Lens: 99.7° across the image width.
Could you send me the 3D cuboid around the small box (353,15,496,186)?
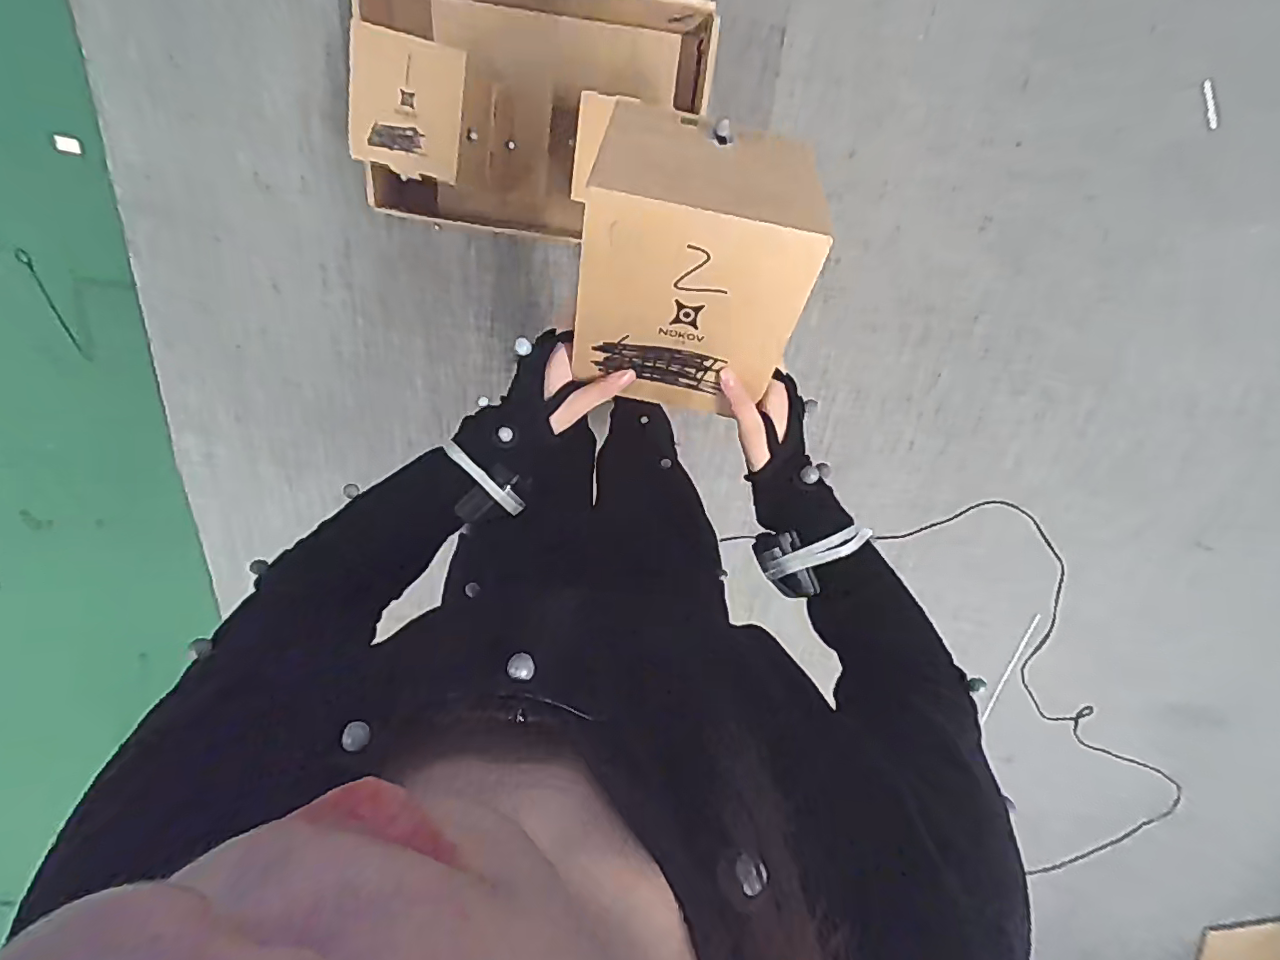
[{"bbox_3d":[-0.340,-0.593,0.873,0.168,0.176,0.179,12,114,-6],"label":"small box"}]
